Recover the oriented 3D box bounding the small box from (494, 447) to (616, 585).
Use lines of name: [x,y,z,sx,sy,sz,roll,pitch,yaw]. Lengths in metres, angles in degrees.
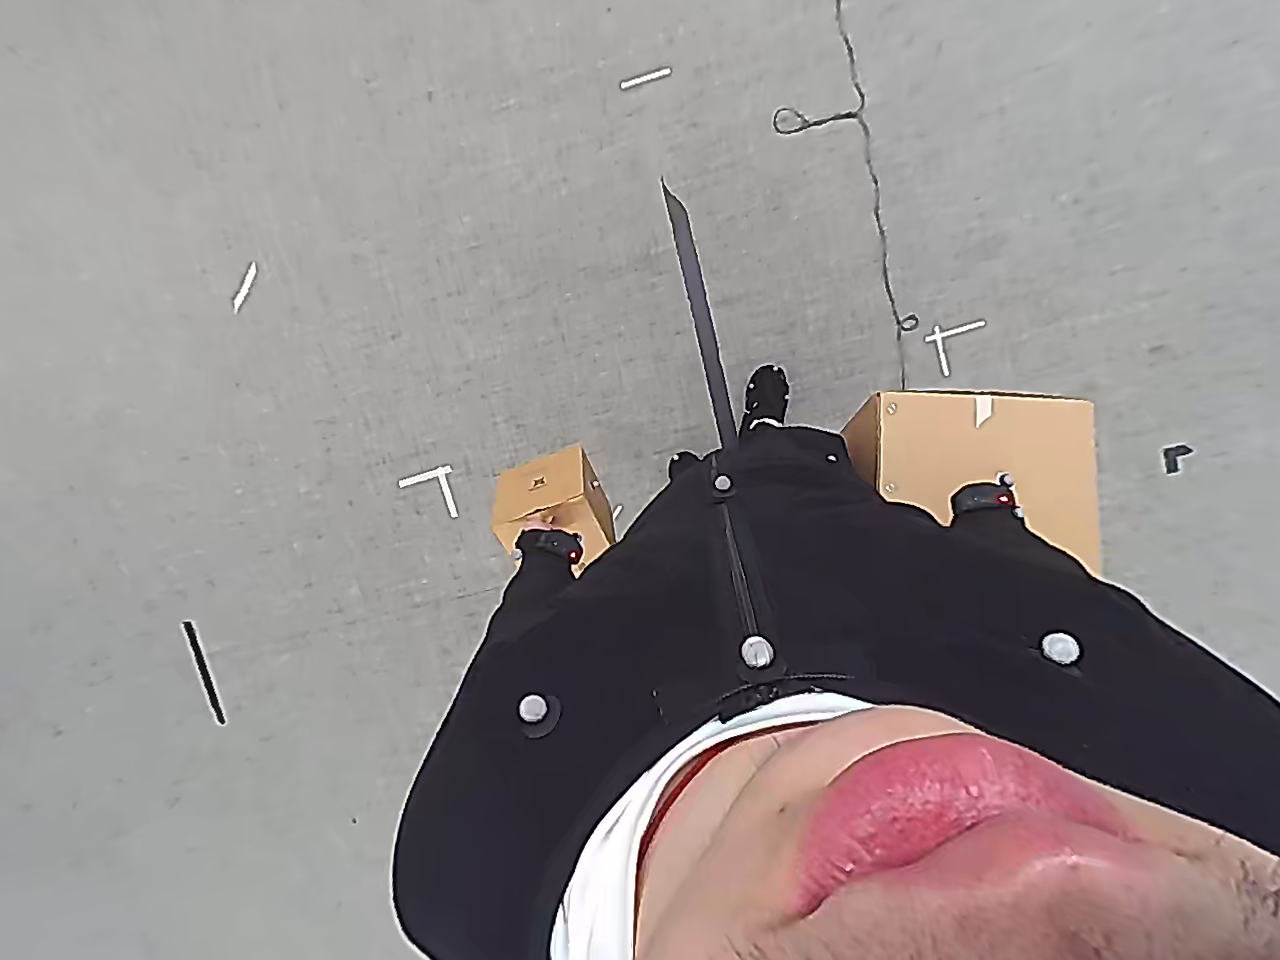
small box: [-0.149,0.071,0.995,0.168,0.179,0.176,-19,122,4]
